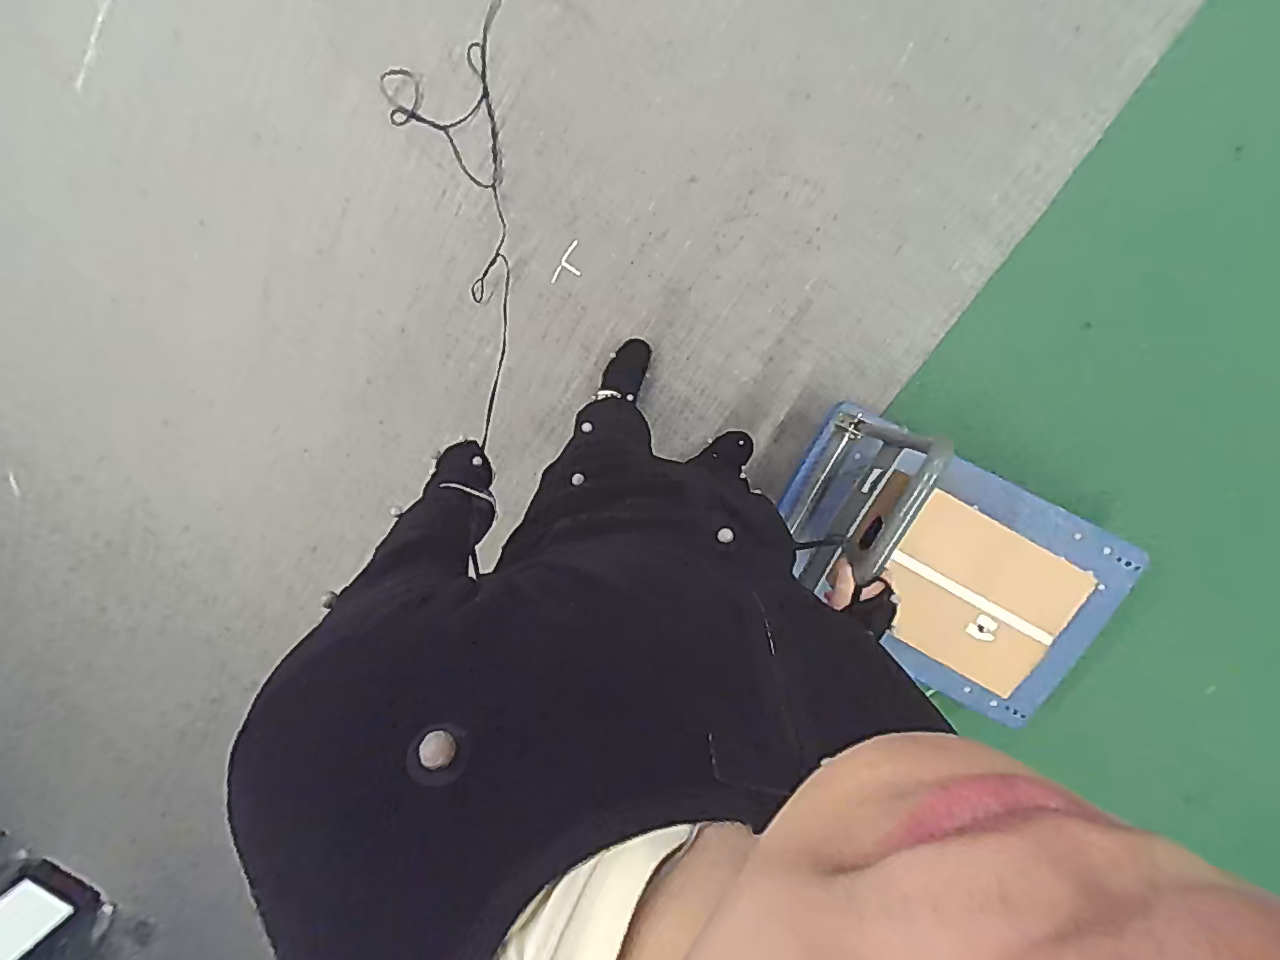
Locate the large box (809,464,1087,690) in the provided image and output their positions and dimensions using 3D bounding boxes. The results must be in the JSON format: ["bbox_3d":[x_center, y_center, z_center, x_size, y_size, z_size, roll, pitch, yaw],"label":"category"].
[{"bbox_3d":[0.677,0.201,1.270,0.408,0.320,0.320,30,102,-1],"label":"large box"}]
